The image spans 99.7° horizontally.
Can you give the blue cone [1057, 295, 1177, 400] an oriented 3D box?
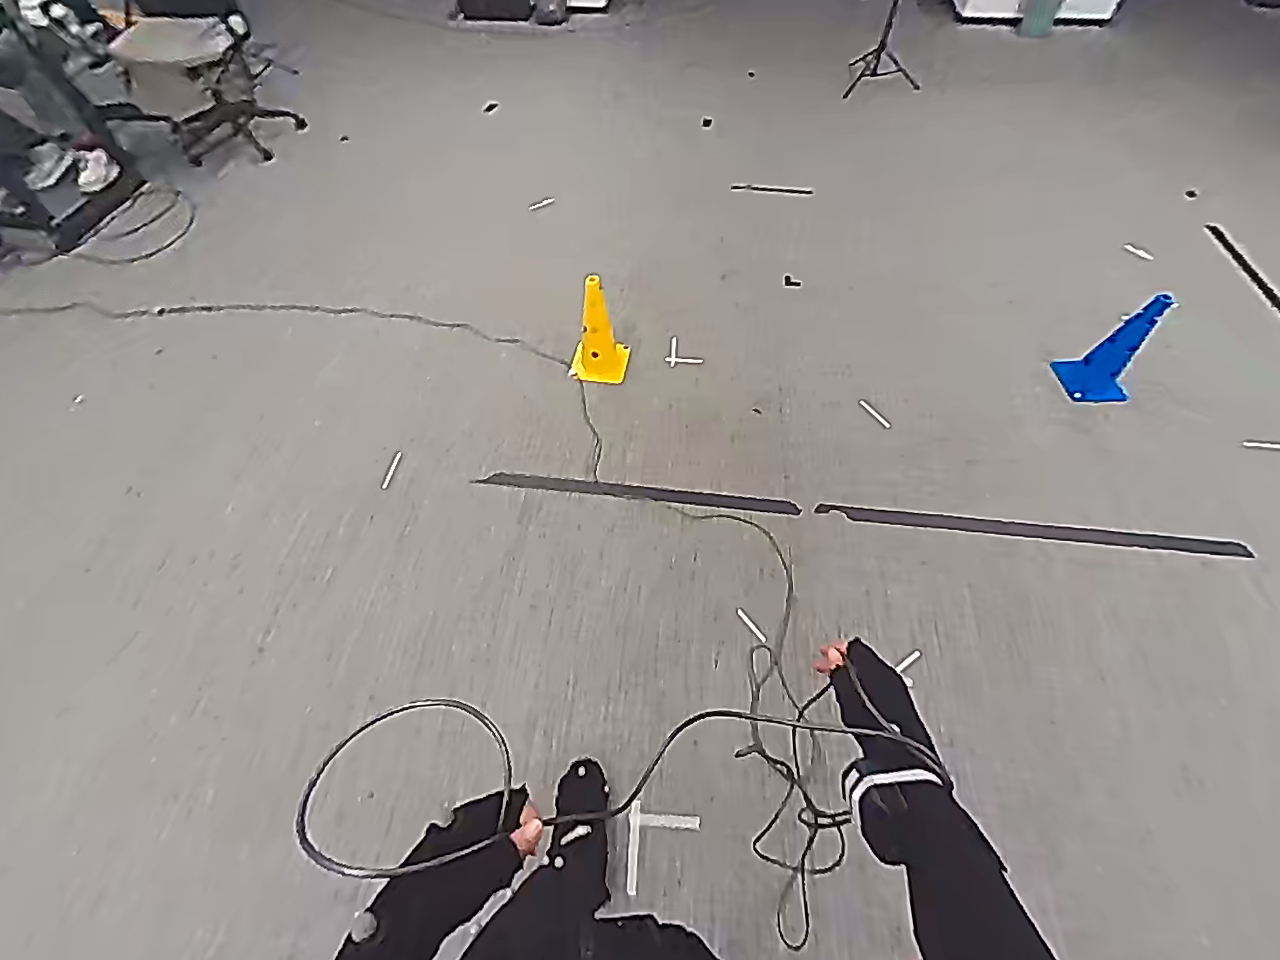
[{"bbox_3d":[1.604,-0.450,1.787,0.193,0.380,0.192,1,56,1],"label":"blue cone"}]
